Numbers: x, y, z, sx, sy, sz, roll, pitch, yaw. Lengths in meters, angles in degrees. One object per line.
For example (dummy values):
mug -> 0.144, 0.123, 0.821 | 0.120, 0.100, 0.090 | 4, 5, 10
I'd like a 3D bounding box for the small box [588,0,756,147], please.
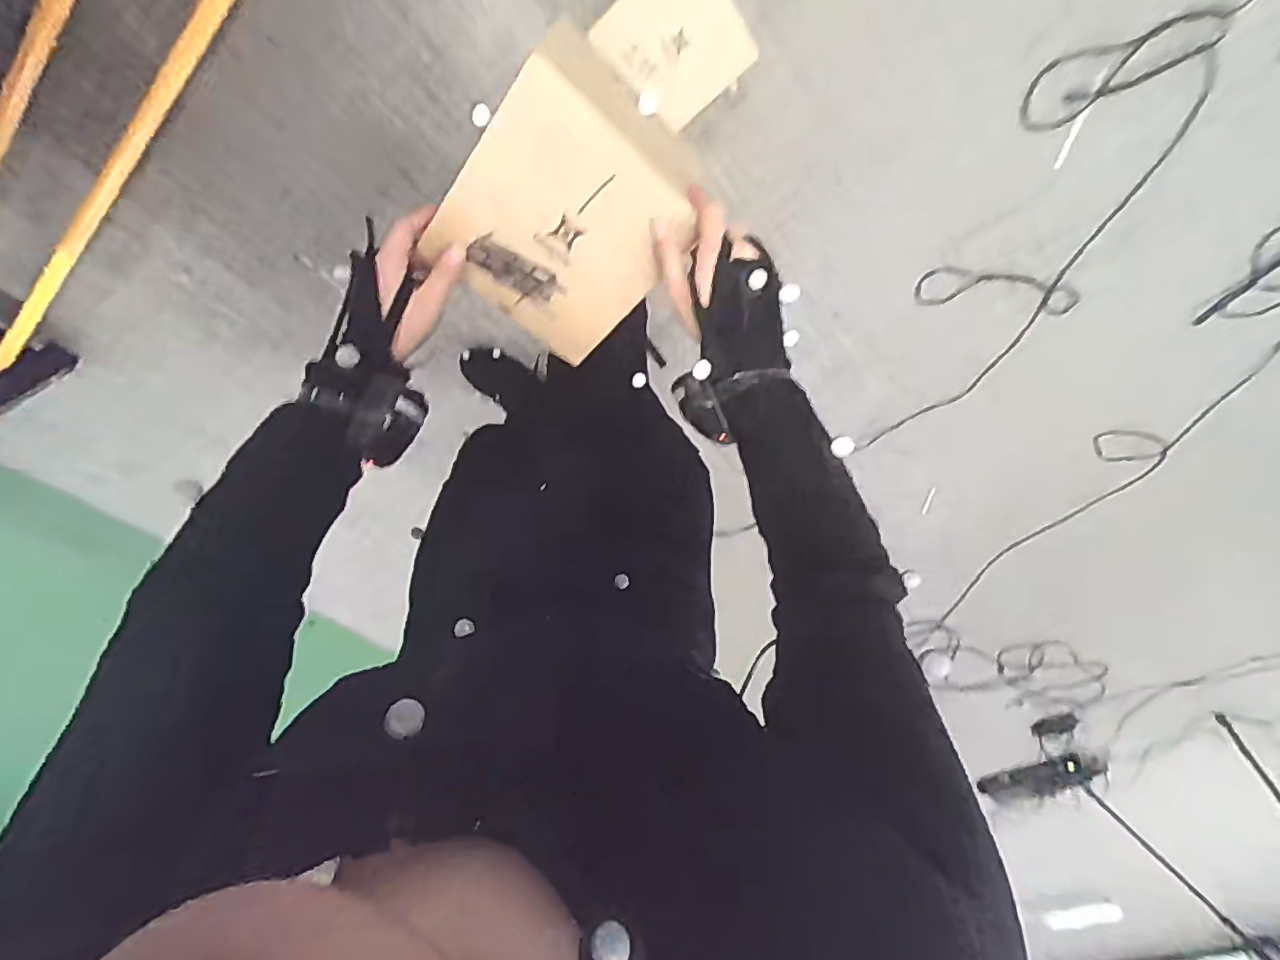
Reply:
small box -> 0.040, -0.633, 0.791 | 0.179, 0.176, 0.168 | -33, 123, 21
